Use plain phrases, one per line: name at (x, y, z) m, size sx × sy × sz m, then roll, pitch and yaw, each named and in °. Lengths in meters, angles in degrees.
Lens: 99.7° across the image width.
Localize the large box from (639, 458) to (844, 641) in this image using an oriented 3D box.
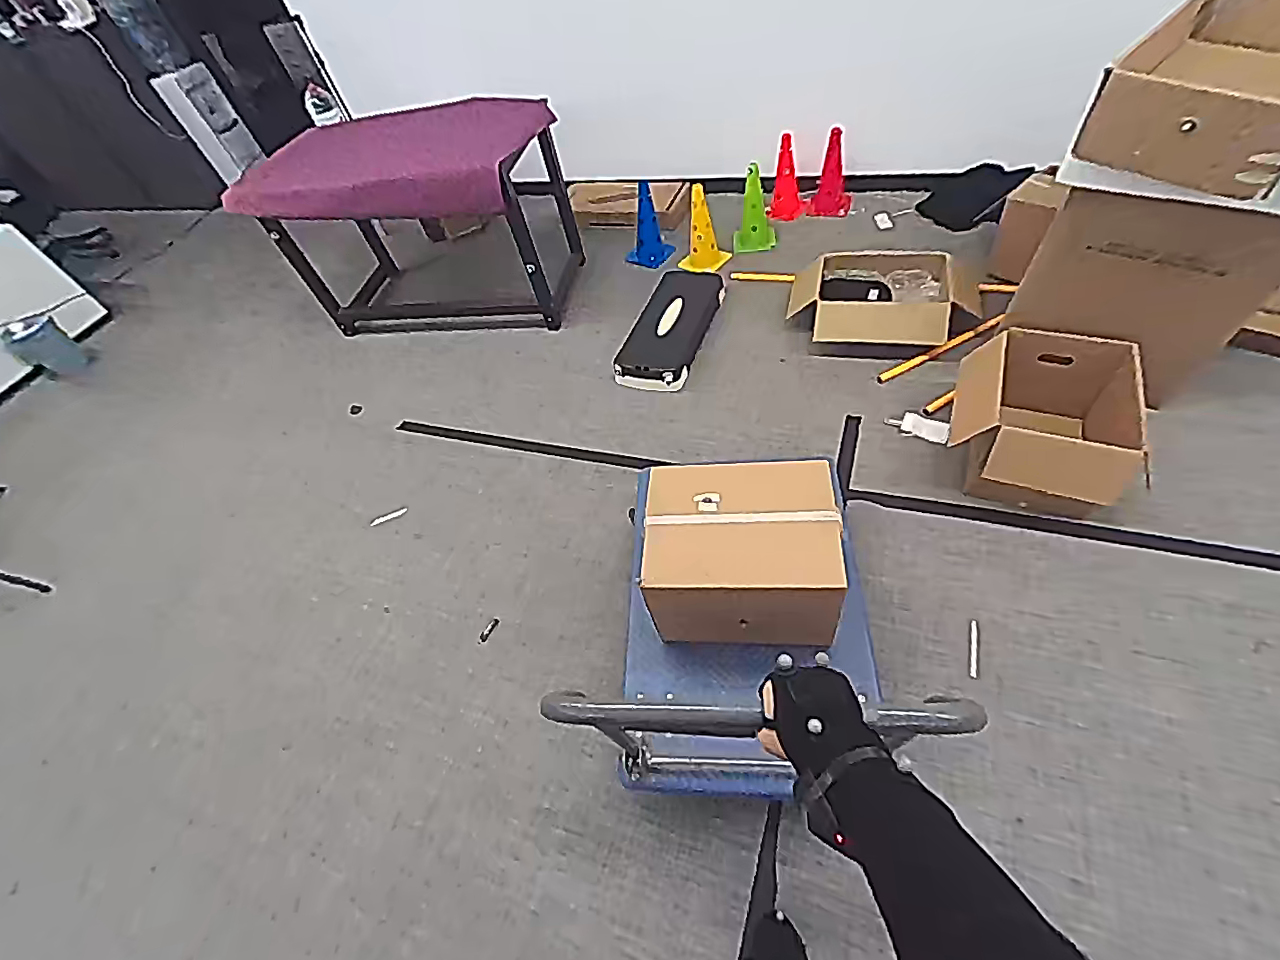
large box at (0.232, 0.175, 1.258) m, size 0.408 × 0.320 × 0.320 m, roll -3°, pitch 52°, yaw 12°
